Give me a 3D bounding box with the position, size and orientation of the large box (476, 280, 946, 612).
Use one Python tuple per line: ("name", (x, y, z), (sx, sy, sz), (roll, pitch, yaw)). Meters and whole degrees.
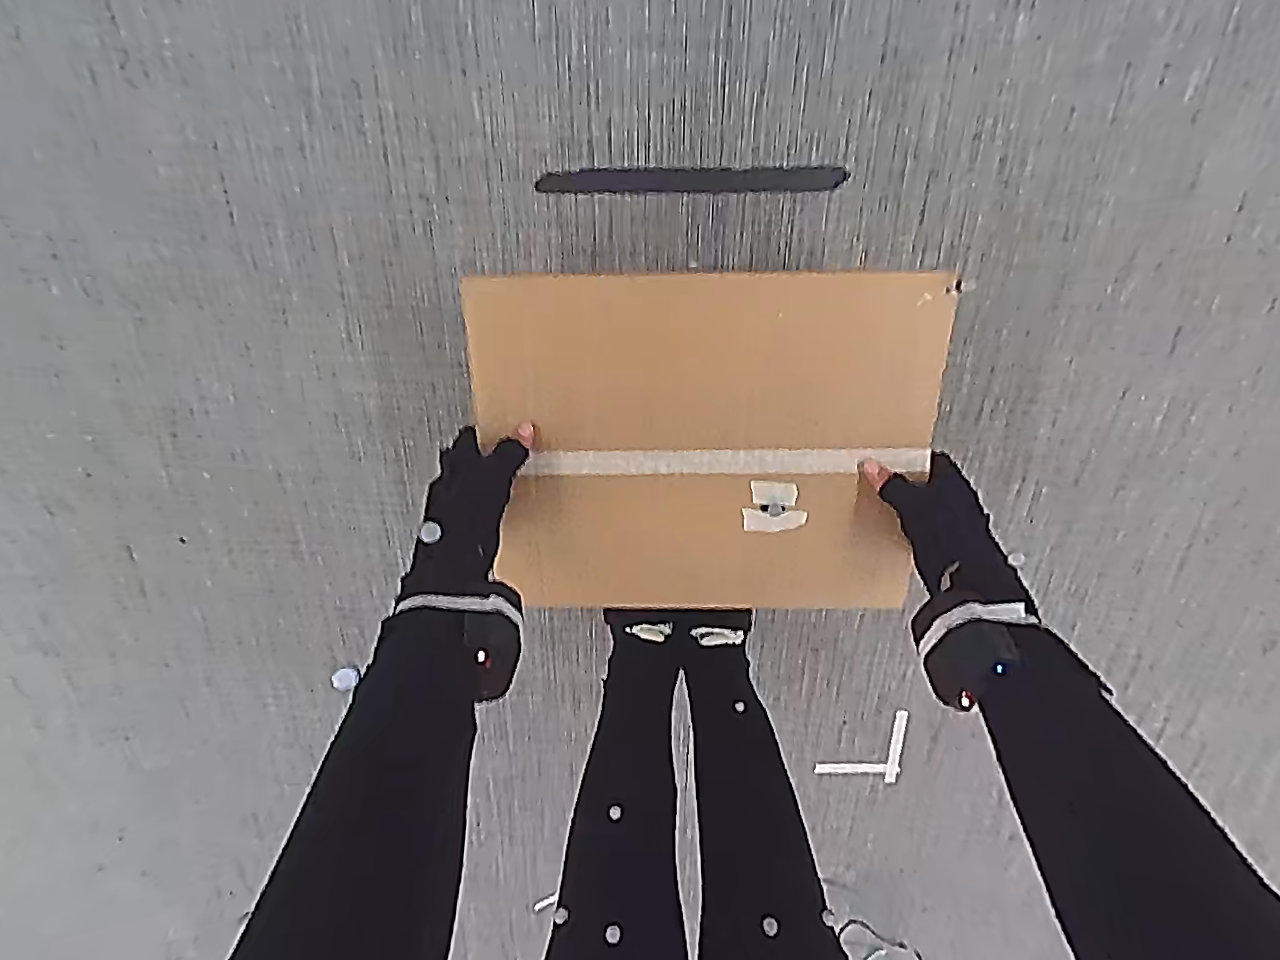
("large box", (0.064, -0.061, 0.641), (0.408, 0.320, 0.320), (-1, 109, 2))
